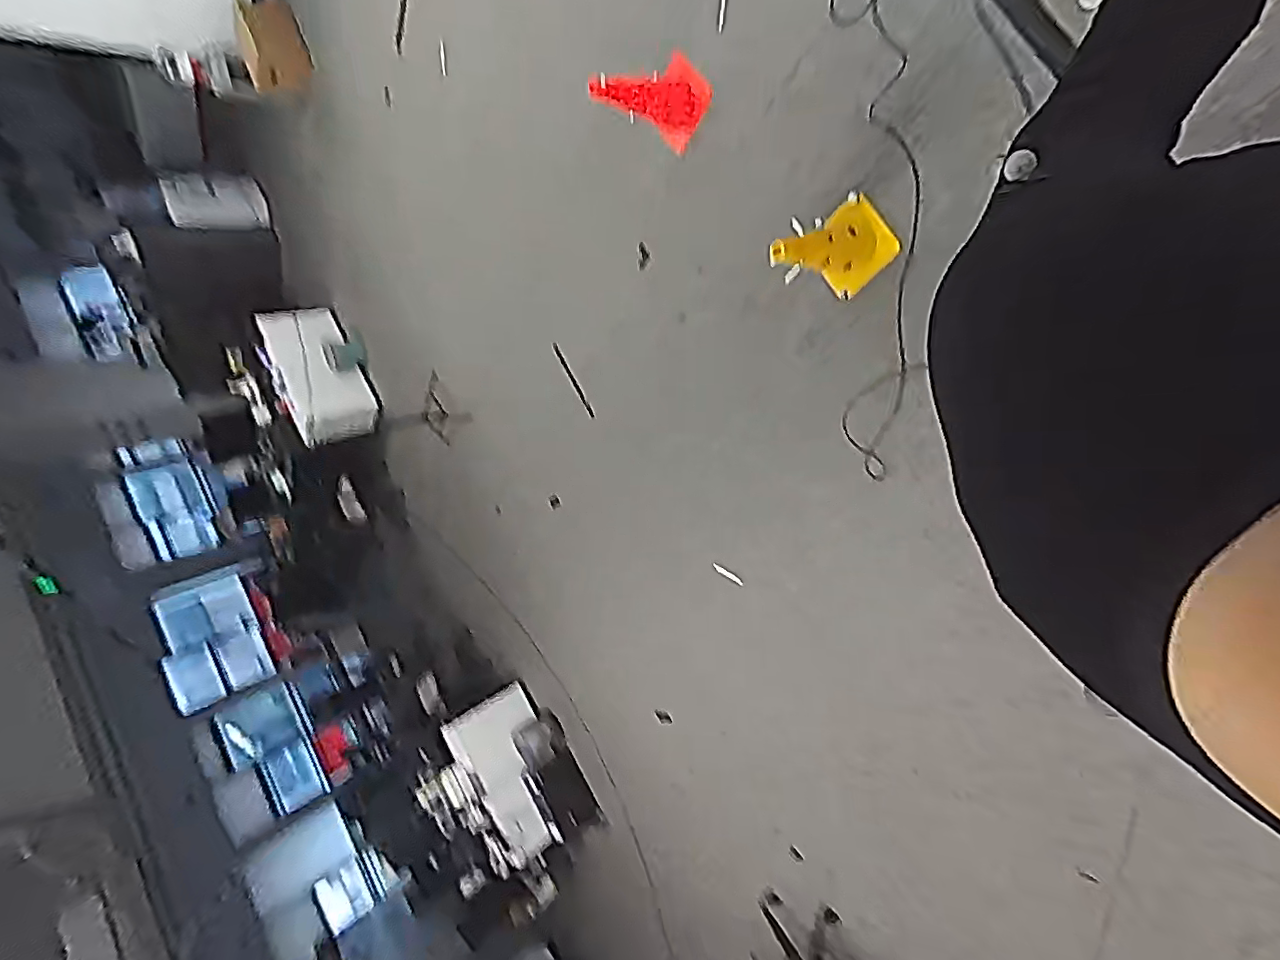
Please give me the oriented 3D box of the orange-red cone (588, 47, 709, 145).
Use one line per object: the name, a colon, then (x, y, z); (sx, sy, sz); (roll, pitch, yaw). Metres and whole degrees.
orange-red cone: (-0.002, -1.139, 1.580); (0.199, 0.360, 0.198); (57, 141, 10)
